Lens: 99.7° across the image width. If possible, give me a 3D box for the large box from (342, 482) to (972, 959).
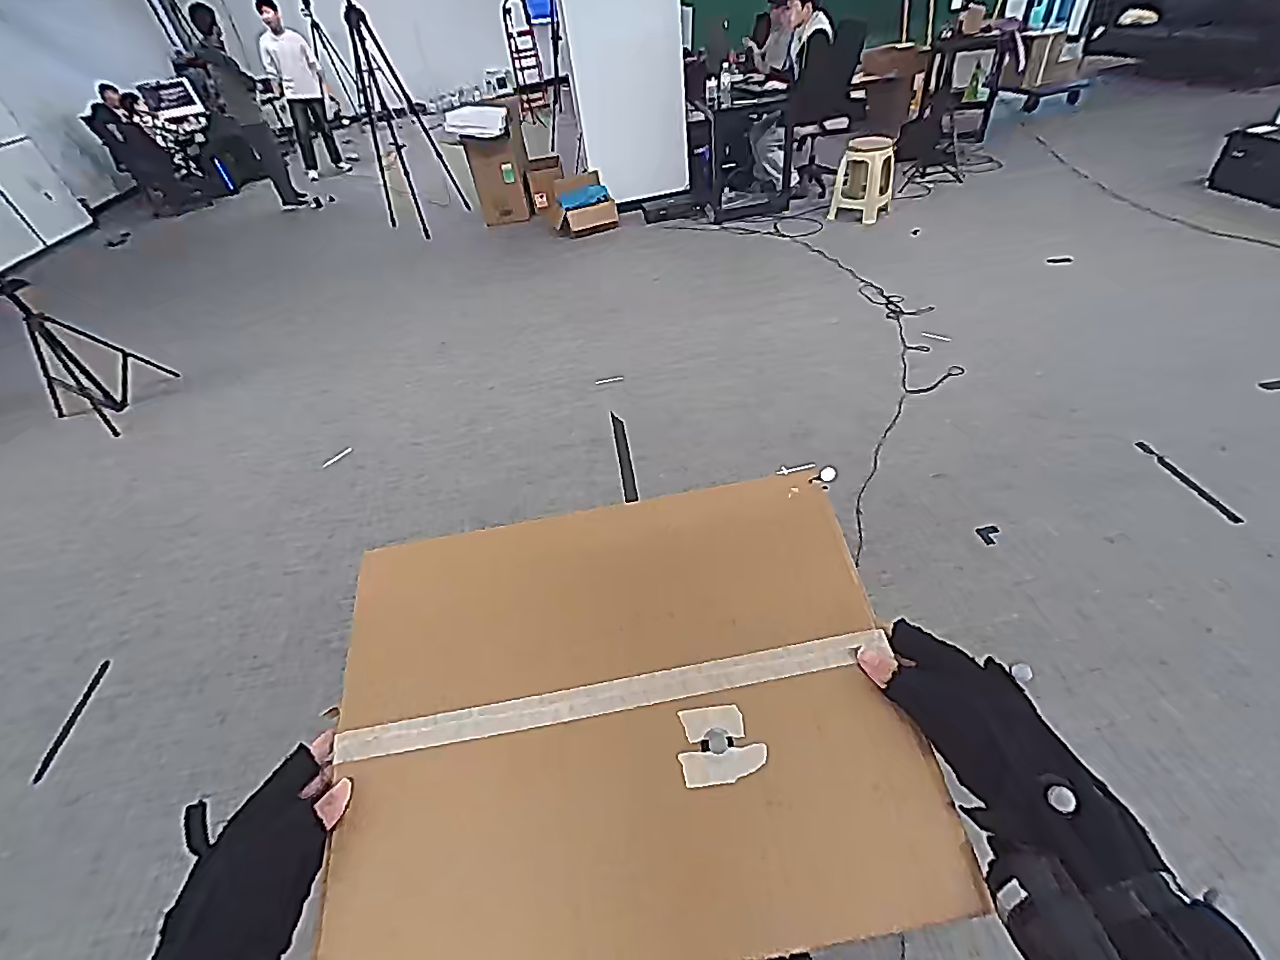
[{"bbox_3d":[-0.002,0.245,0.531,0.408,0.320,0.320,-11,58,-2],"label":"large box"}]
